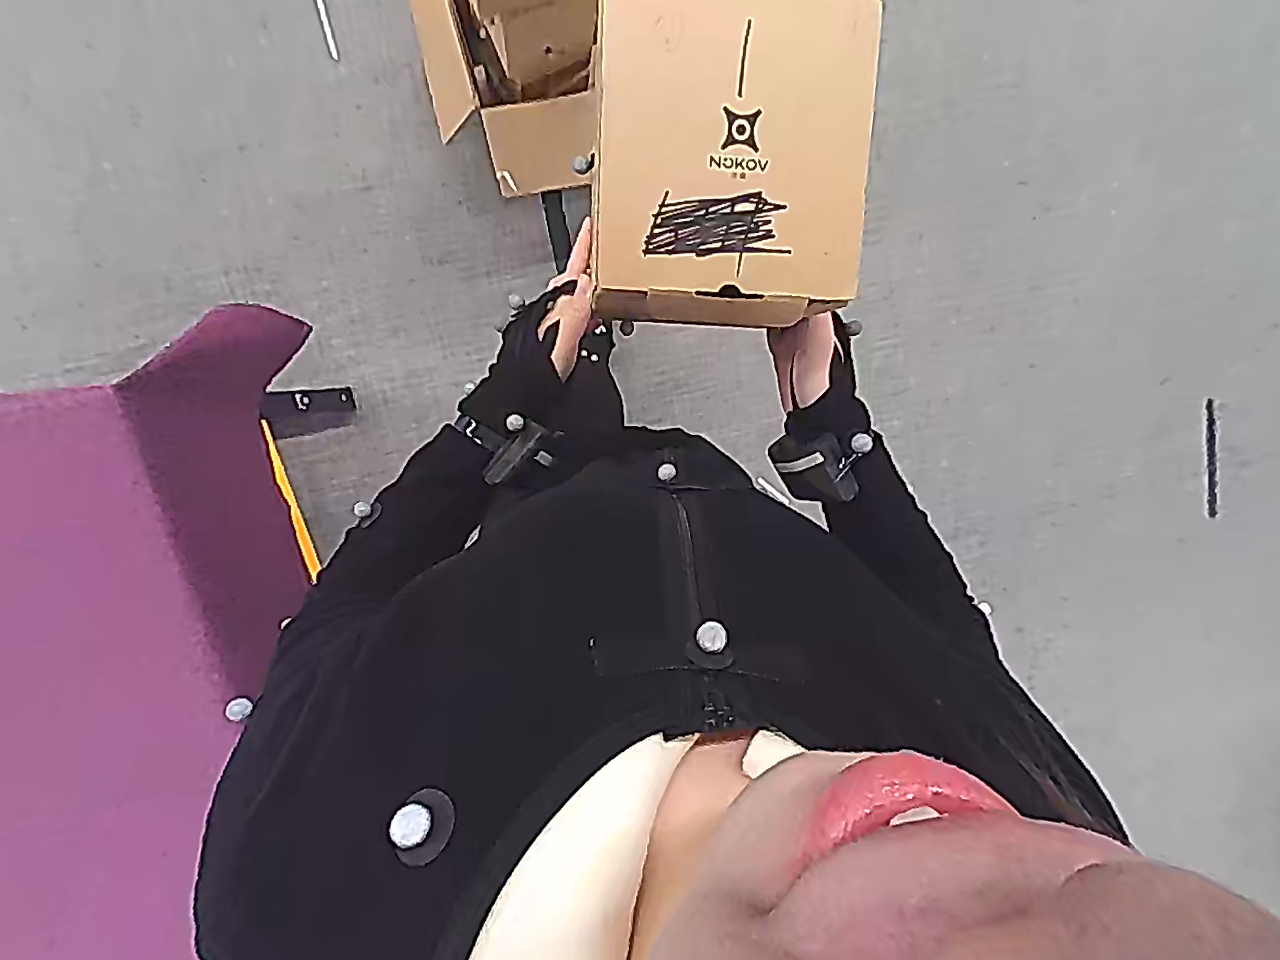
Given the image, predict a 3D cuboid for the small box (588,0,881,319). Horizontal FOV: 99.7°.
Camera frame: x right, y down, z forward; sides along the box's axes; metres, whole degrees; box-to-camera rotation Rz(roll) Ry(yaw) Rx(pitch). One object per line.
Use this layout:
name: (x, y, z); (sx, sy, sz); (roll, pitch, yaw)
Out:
small box: (0.047, -0.218, 0.398); (0.168, 0.176, 0.179); (1, 100, -7)

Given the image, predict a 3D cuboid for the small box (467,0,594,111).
small box: (-0.208, -0.859, 1.036); (0.179, 0.176, 0.168); (-34, 106, -3)

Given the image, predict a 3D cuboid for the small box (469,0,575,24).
small box: (-0.173, -0.762, 0.722); (0.179, 0.176, 0.168); (-20, 106, -6)
